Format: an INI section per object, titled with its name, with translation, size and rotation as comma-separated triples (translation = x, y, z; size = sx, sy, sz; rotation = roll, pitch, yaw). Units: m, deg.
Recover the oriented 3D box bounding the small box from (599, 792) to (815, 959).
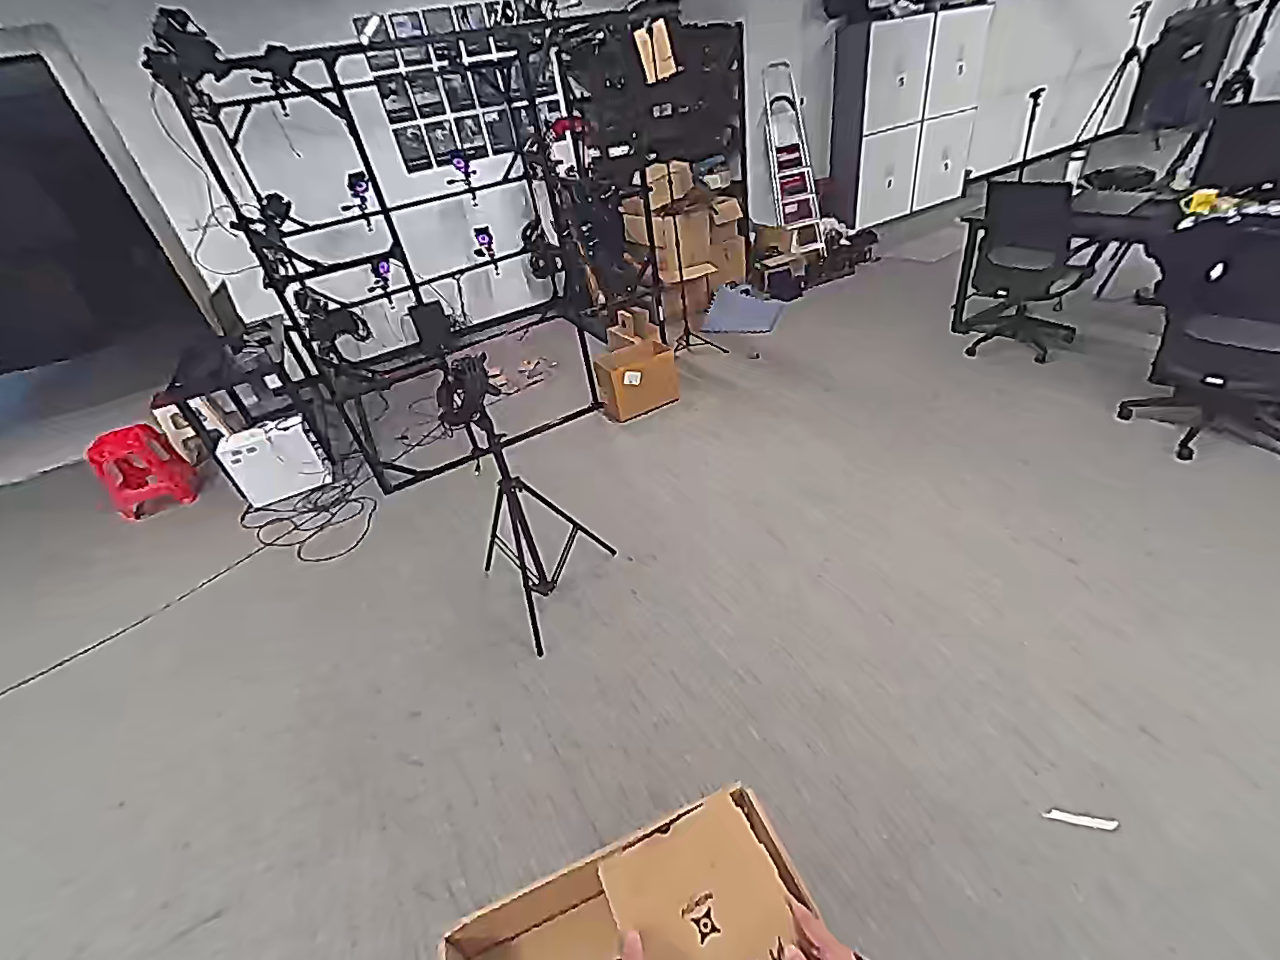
[small box]
translation = 0.069, 0.490, 0.600
size = 0.168, 0.176, 0.179
rotation = -23, 51, -13
